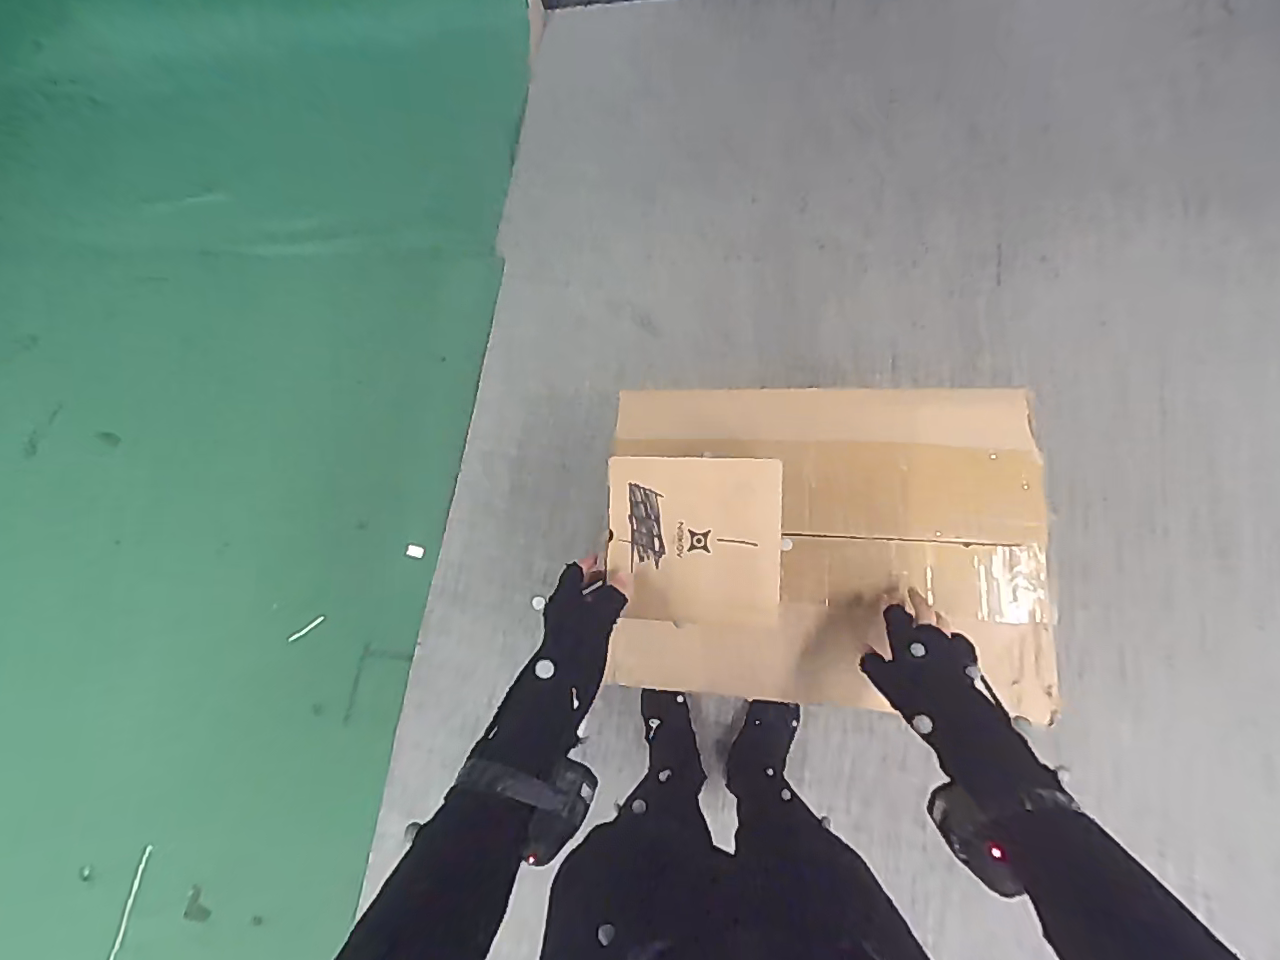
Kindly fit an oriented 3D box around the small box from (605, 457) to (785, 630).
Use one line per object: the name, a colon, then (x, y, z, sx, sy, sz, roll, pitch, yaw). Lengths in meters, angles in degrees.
small box: (0.069, 0.066, 0.616, 0.179, 0.176, 0.168, 2, 87, 11)
